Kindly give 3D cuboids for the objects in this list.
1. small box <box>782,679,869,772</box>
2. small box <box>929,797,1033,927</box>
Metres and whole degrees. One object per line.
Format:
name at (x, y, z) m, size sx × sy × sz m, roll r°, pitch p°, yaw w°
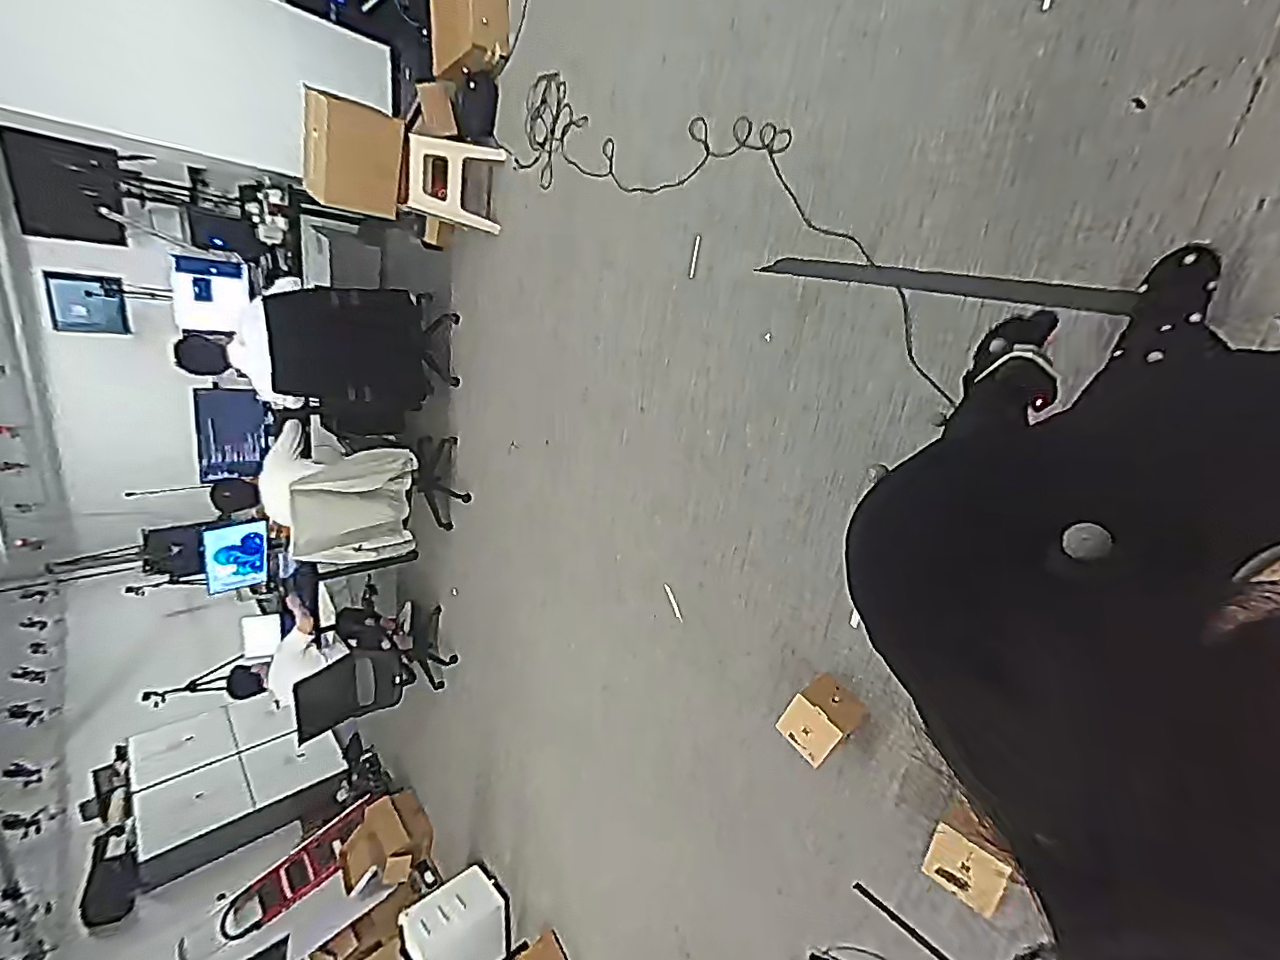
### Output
small box at (0.579, 0.750, 1.672) m, size 0.168 × 0.176 × 0.179 m, roll 42°, pitch 124°, yaw 35°
small box at (0.880, 0.972, 1.391) m, size 0.168 × 0.176 × 0.179 m, roll 24°, pitch 113°, yaw 42°
